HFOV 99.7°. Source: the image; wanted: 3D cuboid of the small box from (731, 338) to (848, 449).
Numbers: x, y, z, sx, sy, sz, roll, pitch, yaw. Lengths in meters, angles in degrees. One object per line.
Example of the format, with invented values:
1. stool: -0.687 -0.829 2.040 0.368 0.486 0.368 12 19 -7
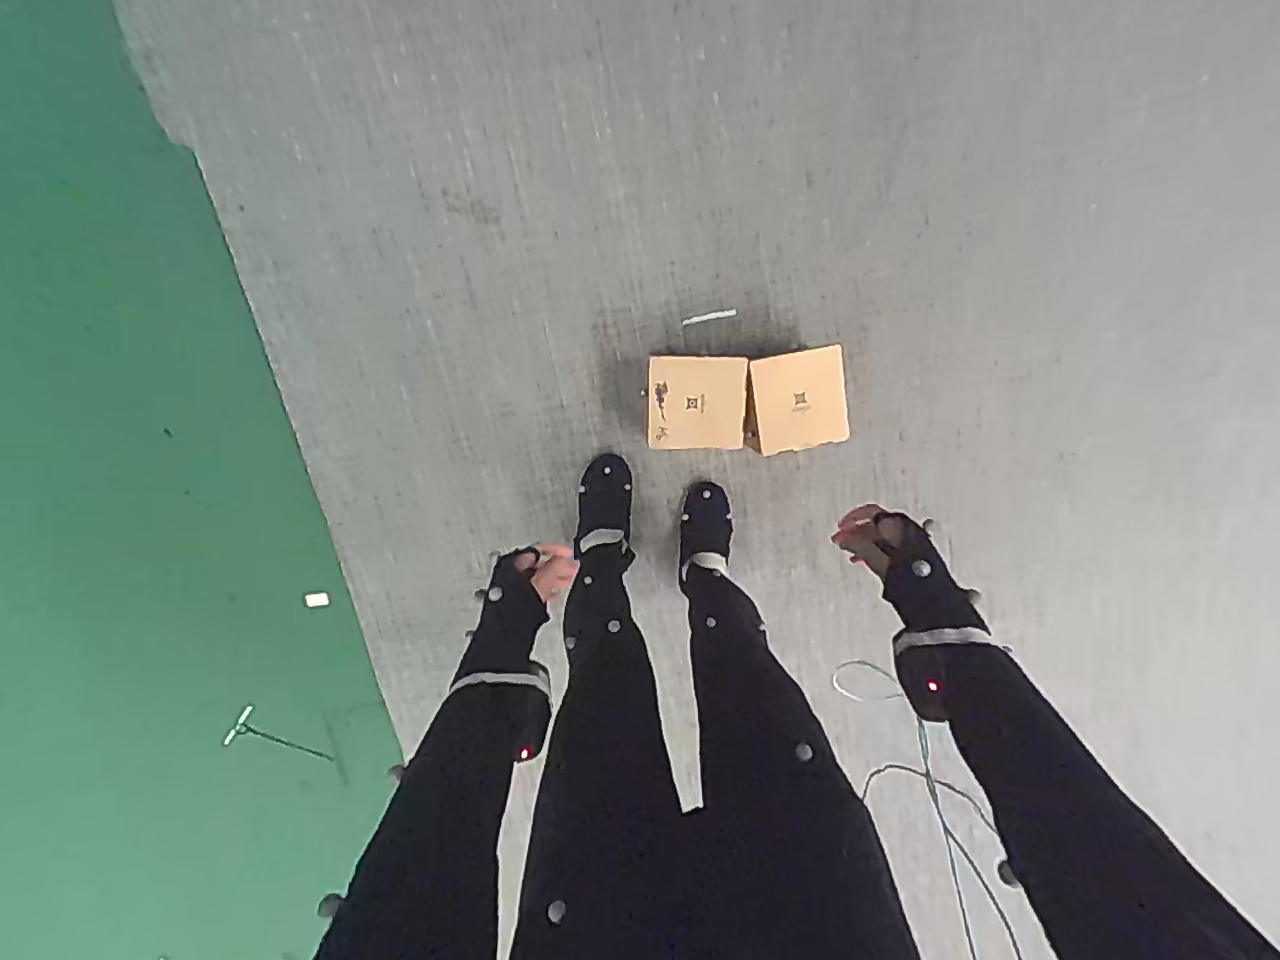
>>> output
1. small box: 0.280 -0.170 1.040 0.168 0.176 0.179 -11 105 1
